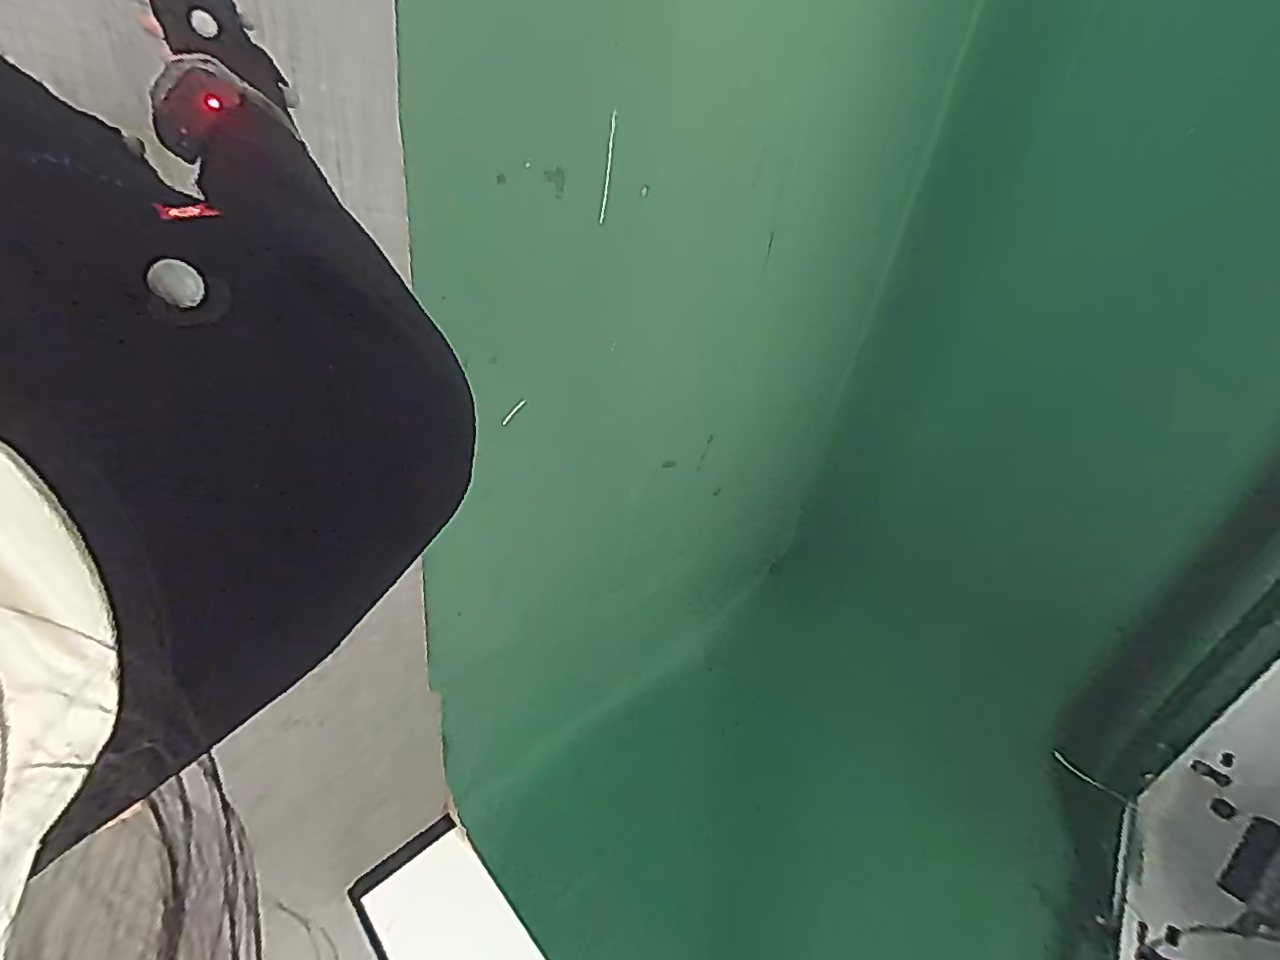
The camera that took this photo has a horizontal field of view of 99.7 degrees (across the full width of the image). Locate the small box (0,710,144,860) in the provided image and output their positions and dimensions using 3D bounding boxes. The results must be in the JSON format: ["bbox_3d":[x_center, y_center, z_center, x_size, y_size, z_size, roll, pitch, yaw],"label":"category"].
[{"bbox_3d":[-1.187,0.628,1.132,0.179,0.176,0.168,-19,130,-44],"label":"small box"}]

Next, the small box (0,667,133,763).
[{"bbox_3d":[-1.305,0.567,1.226,0.179,0.176,0.168,-23,133,-44],"label":"small box"}]
